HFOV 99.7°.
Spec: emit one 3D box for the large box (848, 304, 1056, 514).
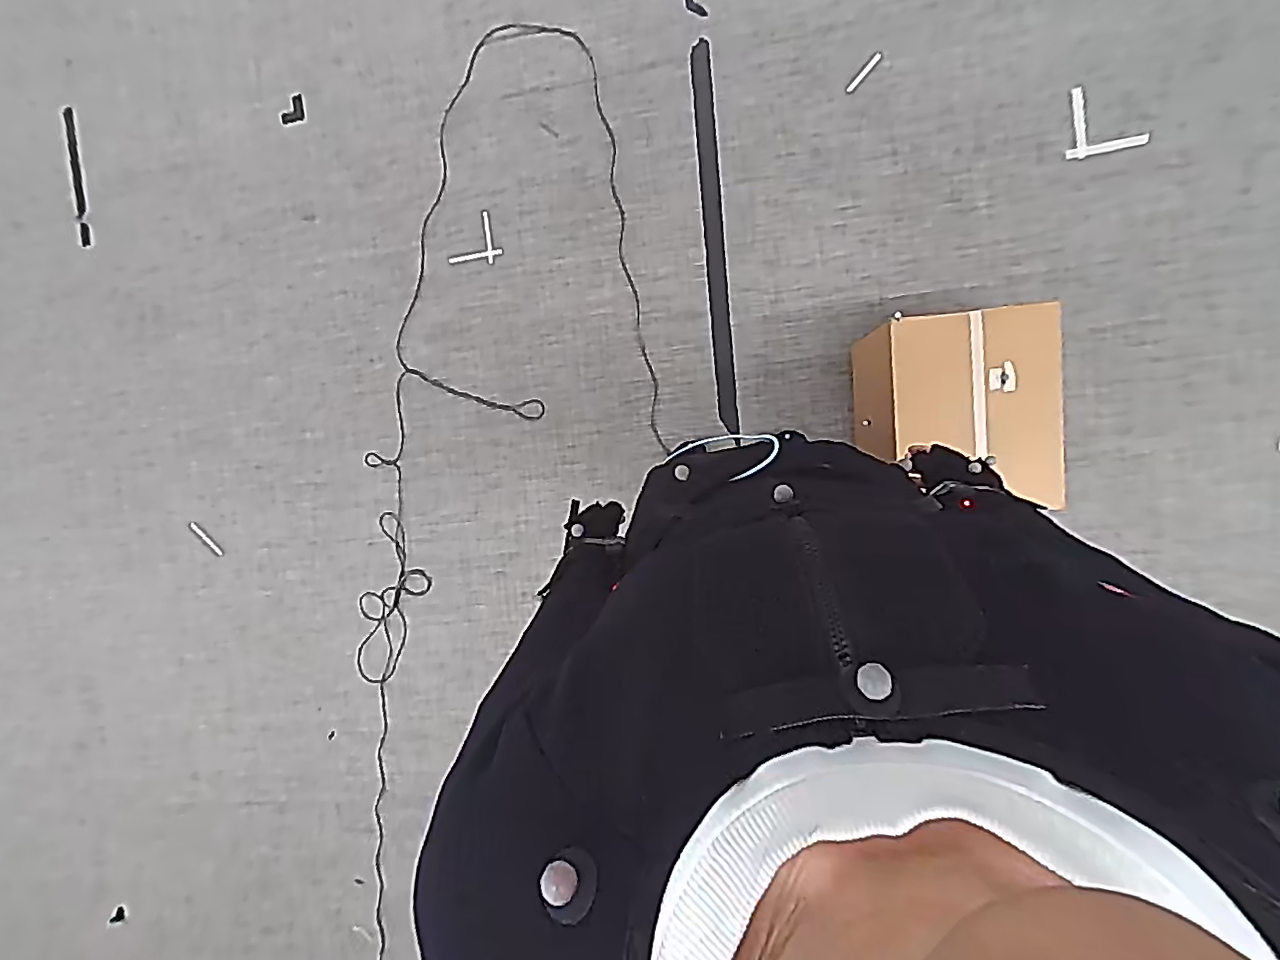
[{"bbox_3d":[0.682,-0.145,1.236,0.320,0.320,0.408,-4,93,6],"label":"large box"}]
